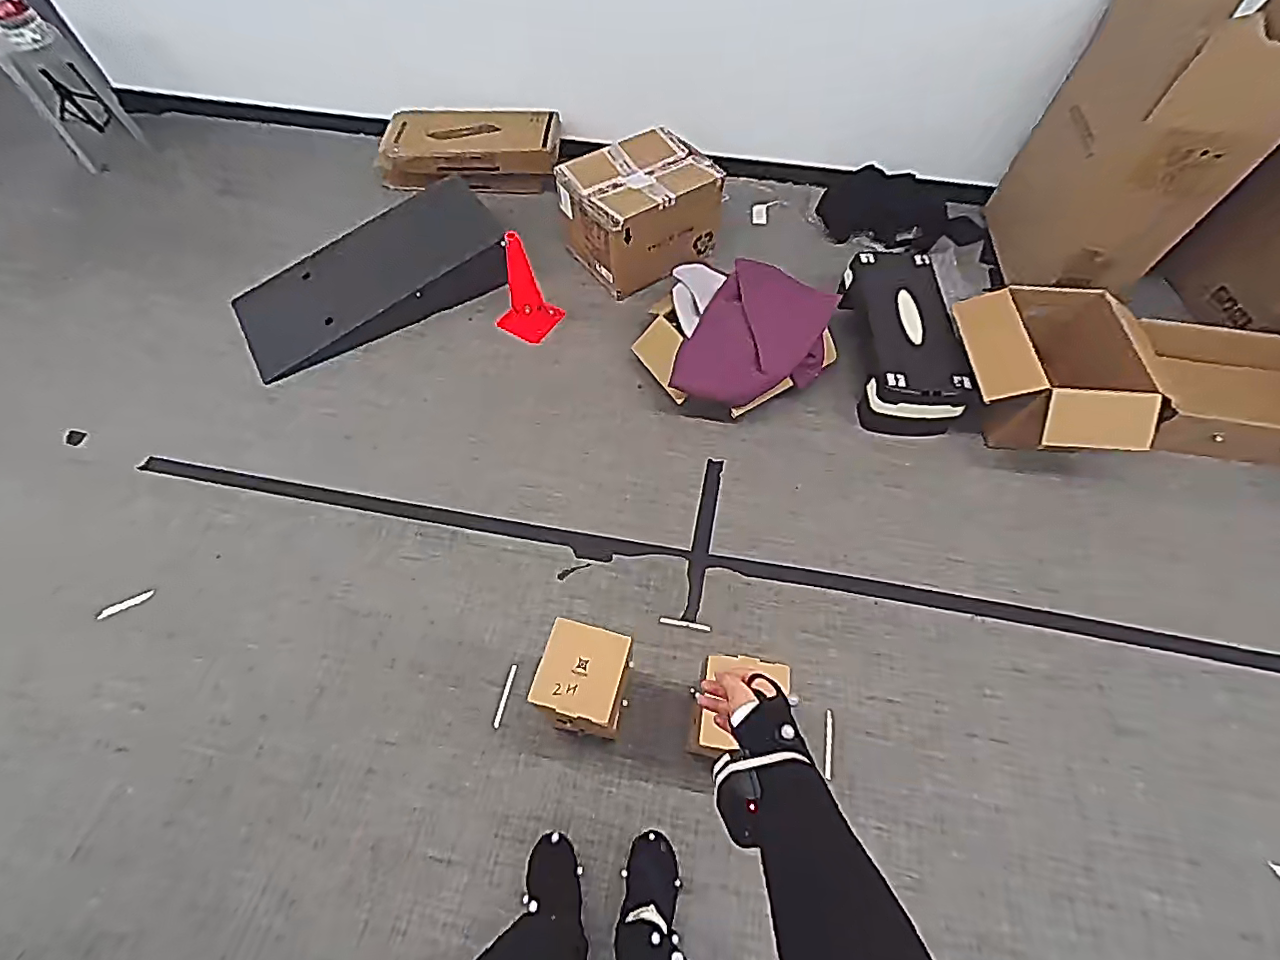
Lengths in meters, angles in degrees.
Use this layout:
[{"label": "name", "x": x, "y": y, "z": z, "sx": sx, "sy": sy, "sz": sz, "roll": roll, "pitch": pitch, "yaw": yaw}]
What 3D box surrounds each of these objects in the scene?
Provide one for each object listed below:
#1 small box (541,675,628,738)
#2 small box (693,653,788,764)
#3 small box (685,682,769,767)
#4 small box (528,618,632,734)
[{"label": "small box", "x": -0.122, "y": 0.503, "z": 1.285, "sx": 0.168, "sy": 0.176, "sz": 0.179, "roll": 9, "pitch": 61, "yaw": 5}, {"label": "small box", "x": 0.203, "y": 0.476, "z": 1.117, "sx": 0.168, "sy": 0.176, "sz": 0.179, "roll": 8, "pitch": 61, "yaw": 5}, {"label": "small box", "x": 0.207, "y": 0.559, "z": 1.256, "sx": 0.179, "sy": 0.176, "sz": 0.168, "roll": 13, "pitch": 61, "yaw": 5}, {"label": "small box", "x": -0.119, "y": 0.417, "z": 1.143, "sx": 0.168, "sy": 0.176, "sz": 0.179, "roll": 14, "pitch": 61, "yaw": 8}]
